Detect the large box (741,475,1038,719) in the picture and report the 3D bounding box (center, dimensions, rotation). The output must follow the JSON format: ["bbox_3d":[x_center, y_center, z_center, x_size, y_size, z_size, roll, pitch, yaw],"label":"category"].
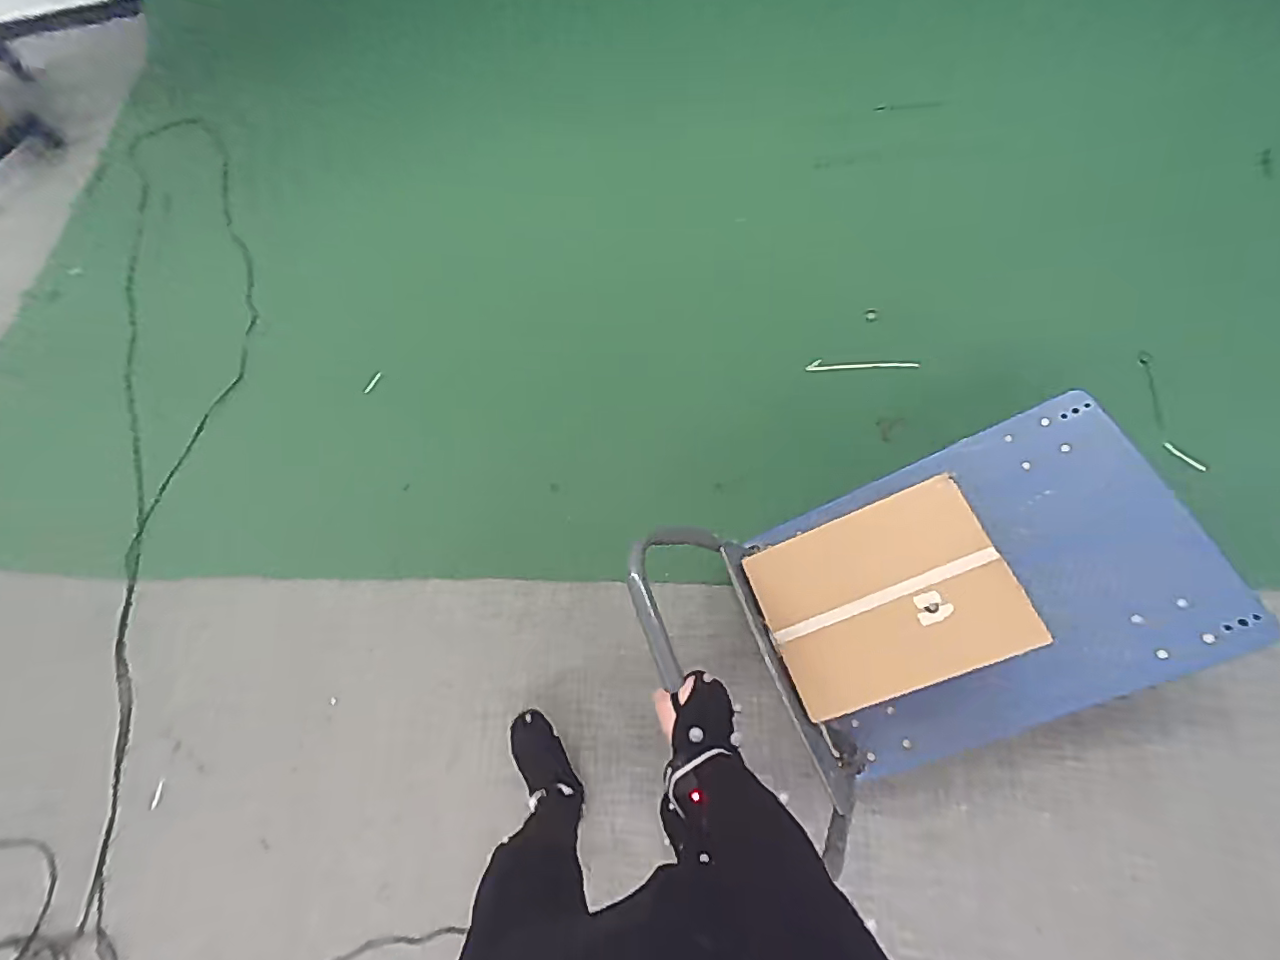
[{"bbox_3d":[0.470,0.245,1.099,0.408,0.320,0.320,-26,69,12],"label":"large box"}]
